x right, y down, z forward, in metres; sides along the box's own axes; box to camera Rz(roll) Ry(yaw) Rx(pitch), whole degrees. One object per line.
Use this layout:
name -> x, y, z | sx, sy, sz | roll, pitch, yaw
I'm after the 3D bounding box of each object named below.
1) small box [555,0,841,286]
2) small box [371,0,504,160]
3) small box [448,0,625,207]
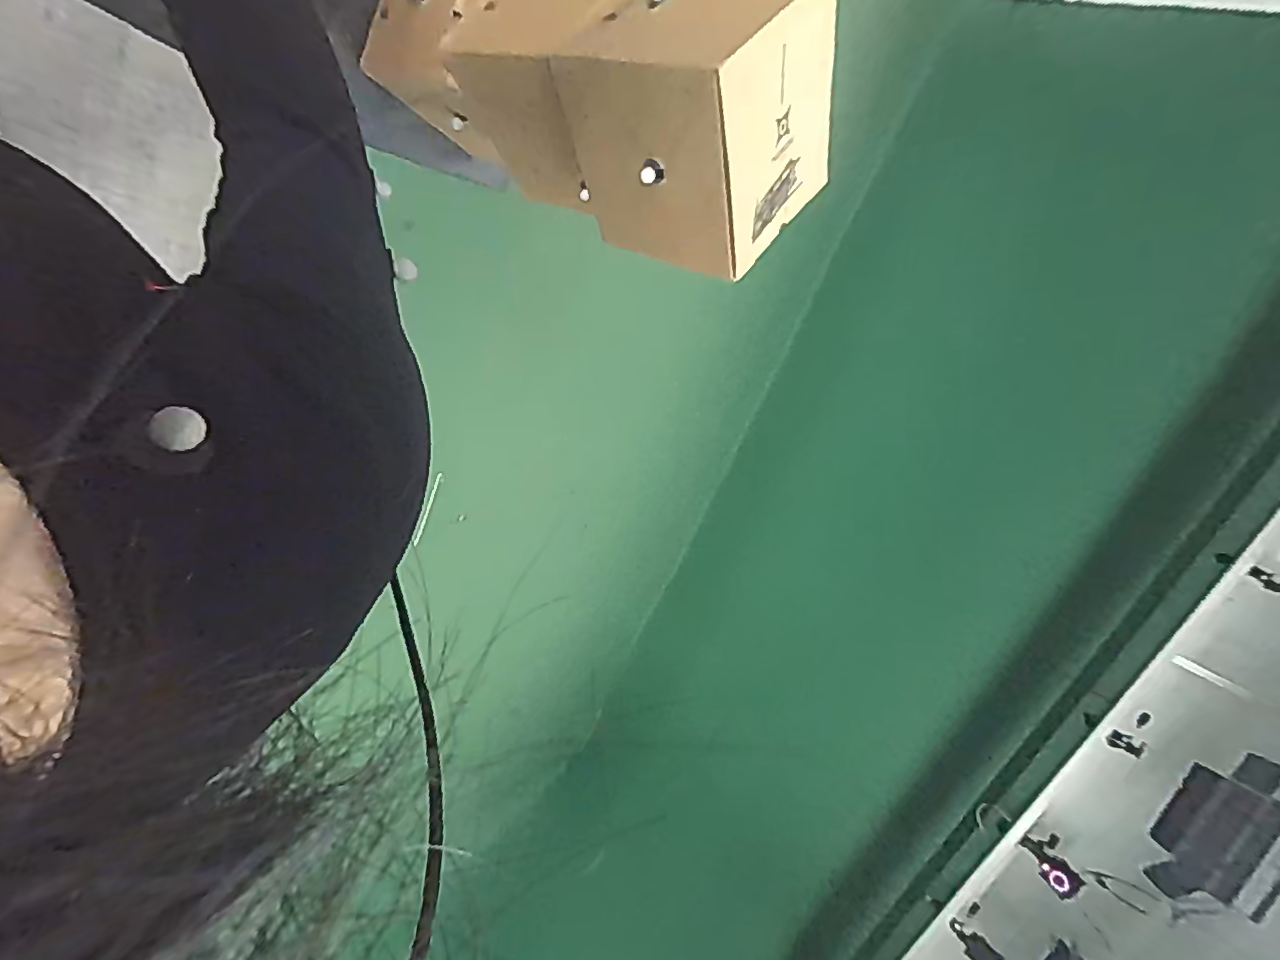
small box -> 0.055, -0.314, 0.487 | 0.168, 0.176, 0.179 | -50, 150, -18
small box -> -0.178, -0.496, 0.634 | 0.179, 0.176, 0.168 | 9, 109, -59
small box -> -0.060, -0.409, 0.562 | 0.168, 0.176, 0.179 | -55, 152, -9
